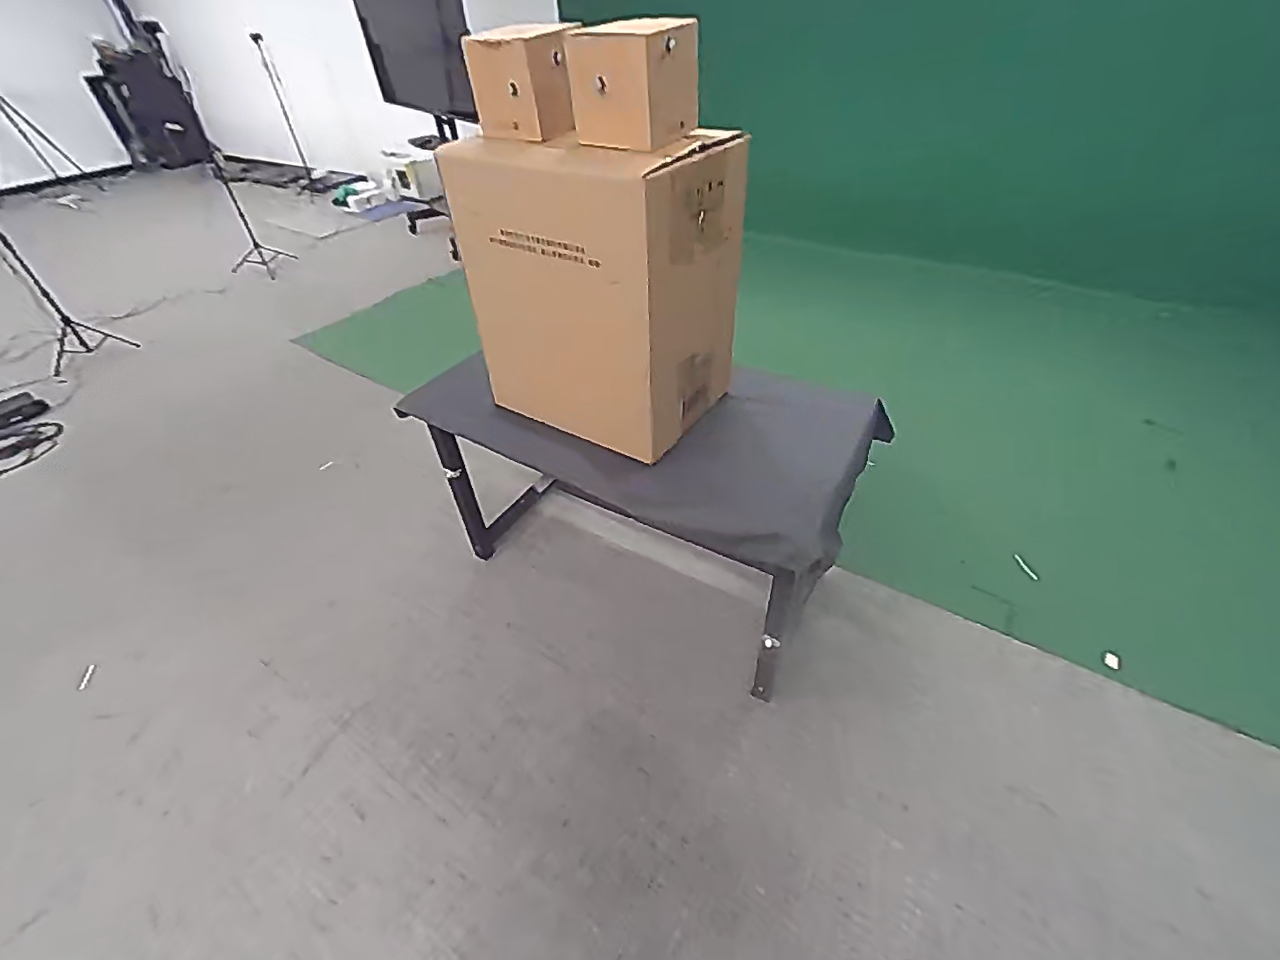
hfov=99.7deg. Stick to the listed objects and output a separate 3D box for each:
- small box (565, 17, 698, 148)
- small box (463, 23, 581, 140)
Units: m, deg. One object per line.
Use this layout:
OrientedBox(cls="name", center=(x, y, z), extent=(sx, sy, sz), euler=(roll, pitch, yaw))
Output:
OrientedBox(cls="small box", center=(-0.008, -0.726, 0.992), extent=(0.179, 0.176, 0.168), euler=(23, 52, 27))
OrientedBox(cls="small box", center=(-0.222, -0.813, 1.104), extent=(0.168, 0.176, 0.179), euler=(23, 51, 24))
